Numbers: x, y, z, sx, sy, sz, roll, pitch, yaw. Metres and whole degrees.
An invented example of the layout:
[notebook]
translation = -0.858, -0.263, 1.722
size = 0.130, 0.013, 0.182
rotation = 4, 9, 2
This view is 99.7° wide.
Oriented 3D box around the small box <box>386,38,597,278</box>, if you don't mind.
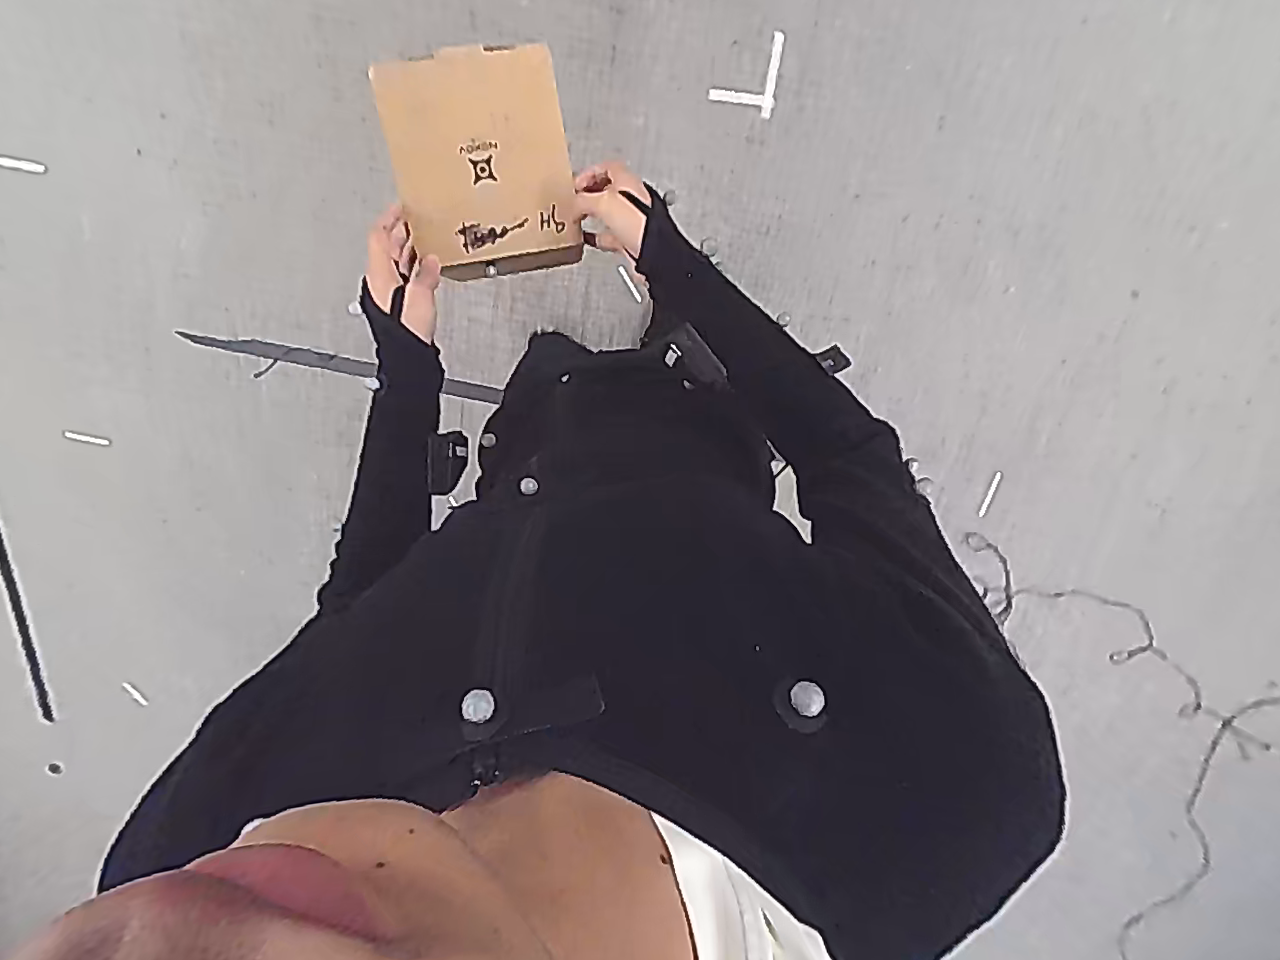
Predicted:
[small box]
translation = -0.145, -0.327, 0.583
size = 0.168, 0.176, 0.179
rotation = -10, 107, -4
